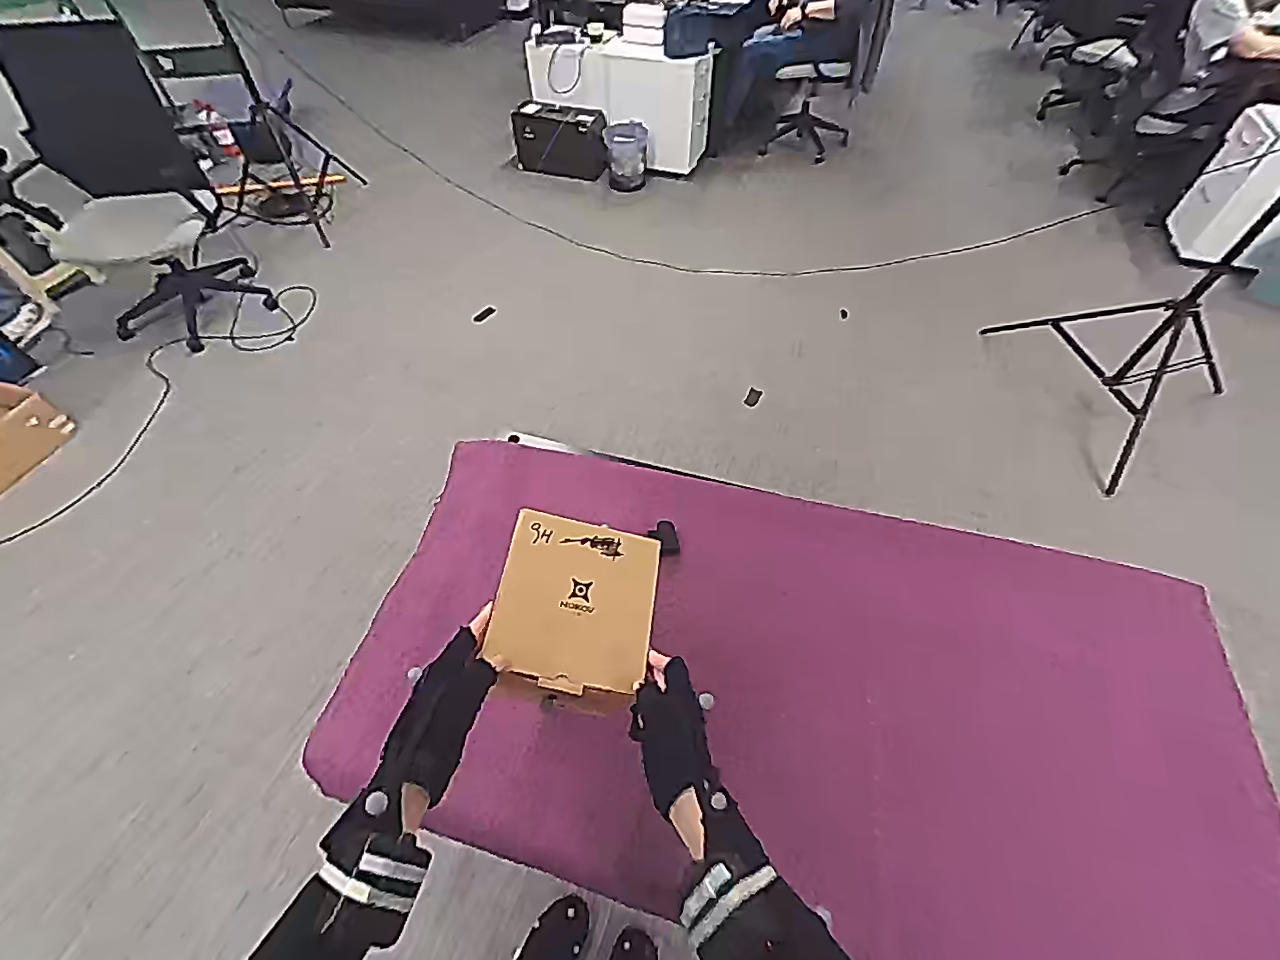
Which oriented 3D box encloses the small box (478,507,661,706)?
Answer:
[{"bbox_3d":[-0.086,0.160,0.643,0.168,0.176,0.179,15,59,-10],"label":"small box"}]
